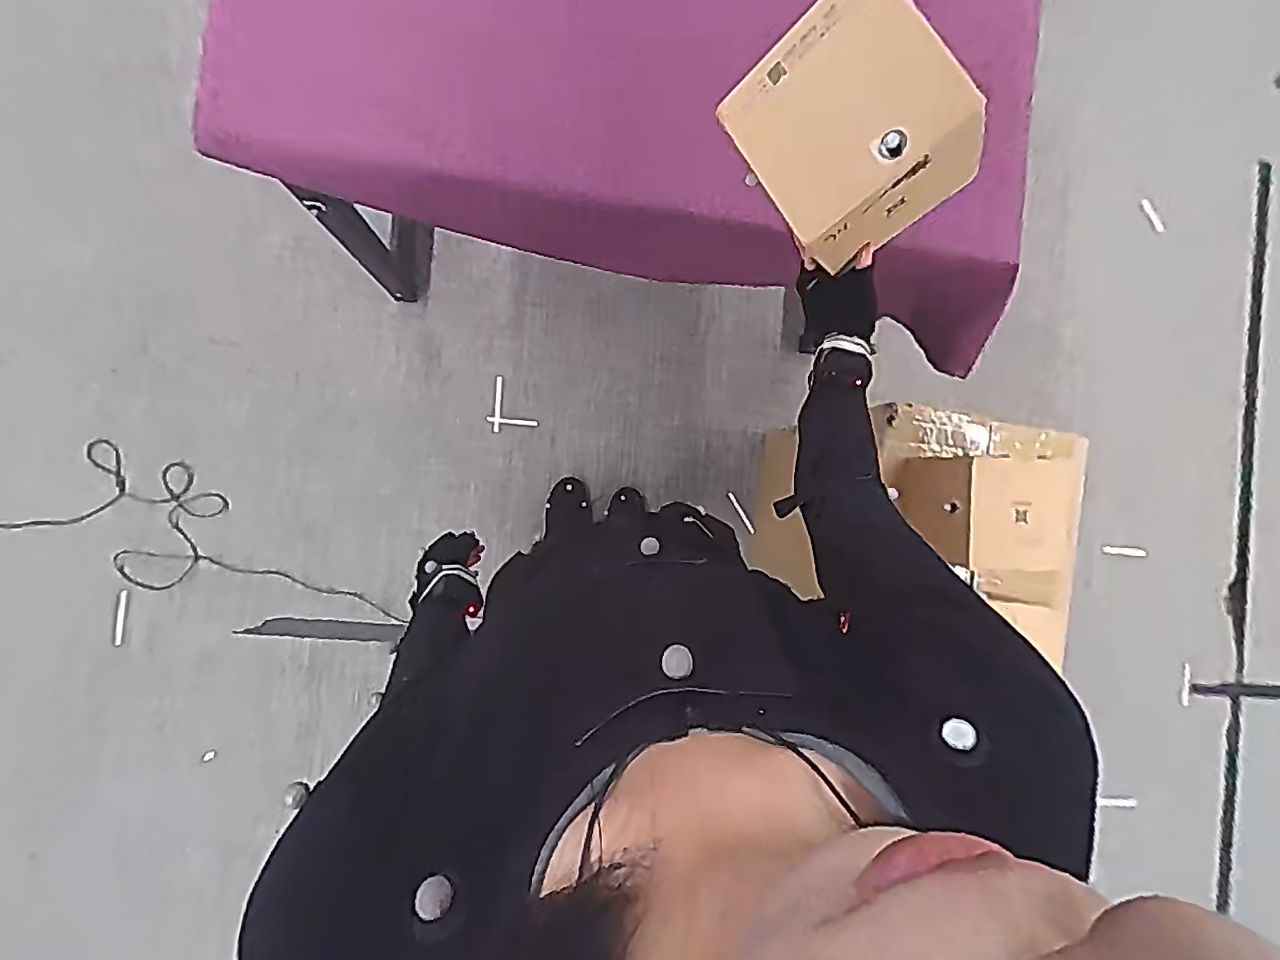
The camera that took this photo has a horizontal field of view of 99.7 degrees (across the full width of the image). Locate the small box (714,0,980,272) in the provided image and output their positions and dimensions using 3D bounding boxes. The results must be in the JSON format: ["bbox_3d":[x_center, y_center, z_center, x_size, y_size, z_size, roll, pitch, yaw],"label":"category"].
[{"bbox_3d":[0.205,-0.344,0.543,0.168,0.179,0.176,-36,80,29],"label":"small box"}]

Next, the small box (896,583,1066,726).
[{"bbox_3d":[0.542,0.275,0.880,0.168,0.176,0.179,7,86,-7],"label":"small box"}]

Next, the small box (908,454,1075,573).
[{"bbox_3d":[0.566,0.052,0.889,0.168,0.176,0.179,2,90,-6],"label":"small box"}]
